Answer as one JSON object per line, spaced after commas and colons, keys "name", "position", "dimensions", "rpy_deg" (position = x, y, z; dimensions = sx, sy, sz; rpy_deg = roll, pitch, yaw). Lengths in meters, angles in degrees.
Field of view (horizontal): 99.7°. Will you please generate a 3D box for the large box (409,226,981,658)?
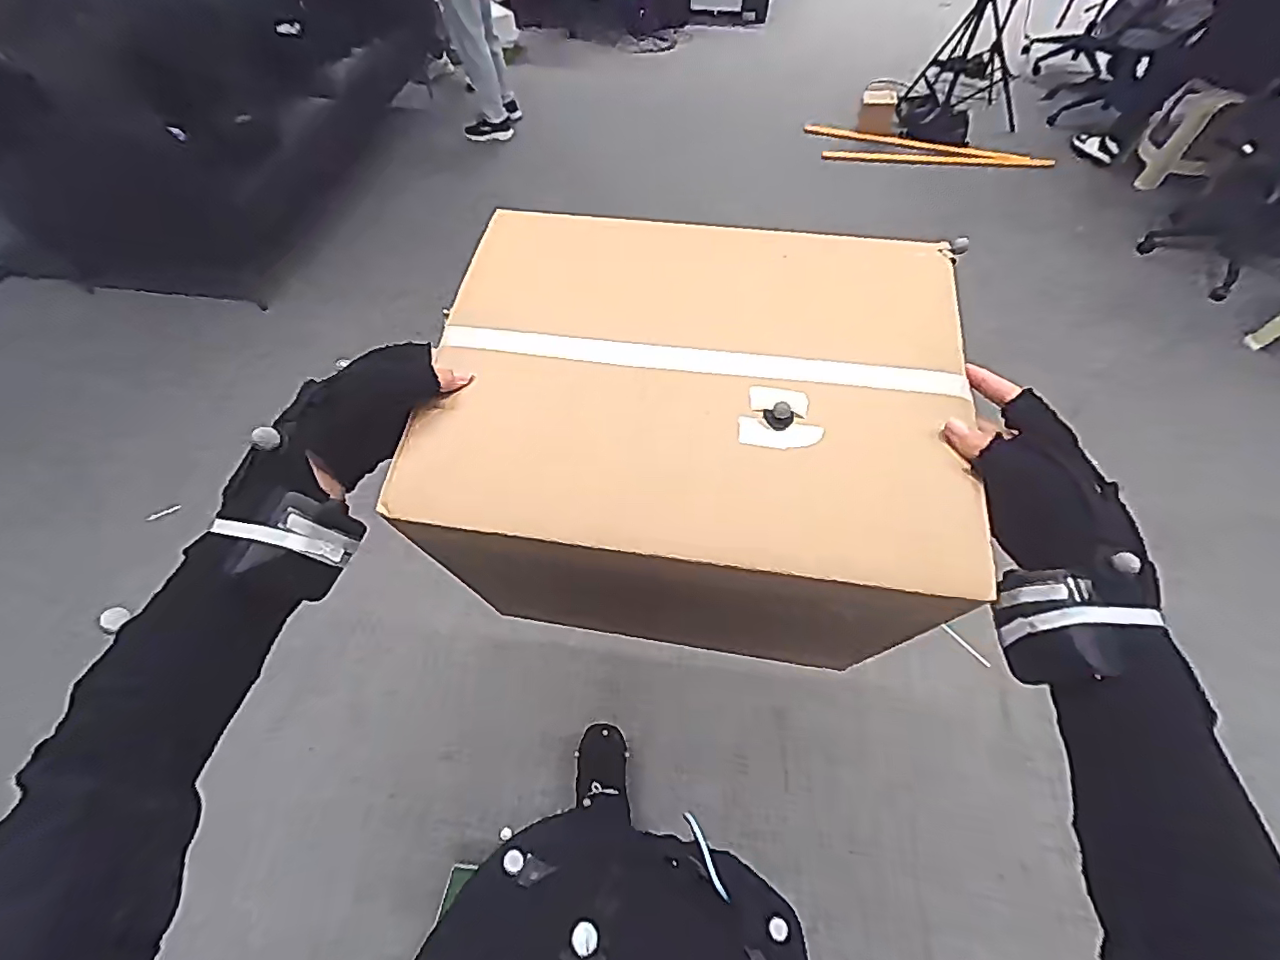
{"name": "large box", "position": [0.051, -0.020, 0.567], "dimensions": [0.408, 0.320, 0.320], "rpy_deg": [8, 64, 5]}
